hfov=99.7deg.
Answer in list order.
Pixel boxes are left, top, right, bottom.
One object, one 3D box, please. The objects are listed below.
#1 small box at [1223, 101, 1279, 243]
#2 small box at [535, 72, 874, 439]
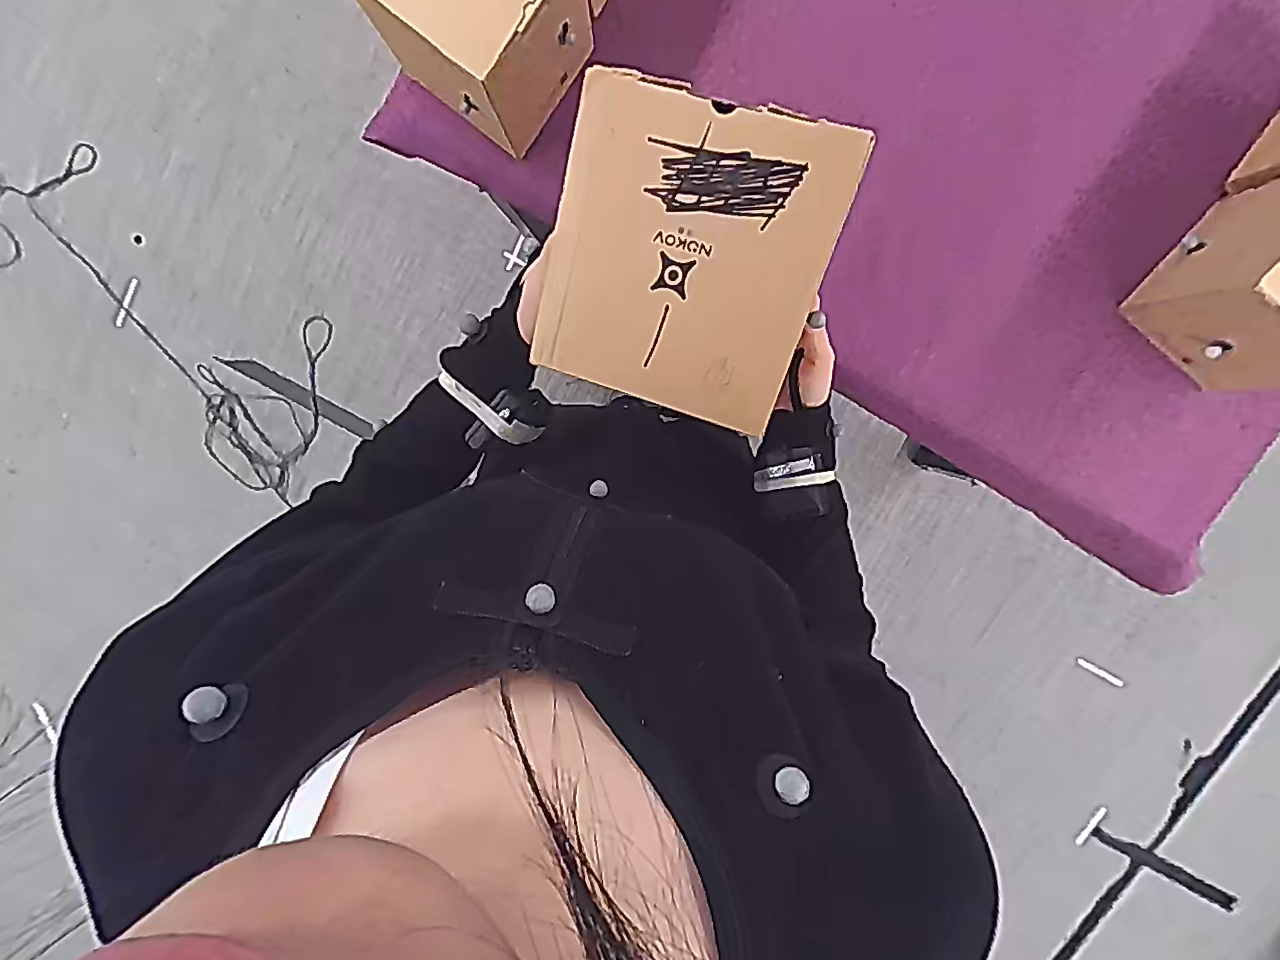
[{"bbox_3d":[0.828,-0.380,0.592,0.168,0.176,0.179,32,98,-5],"label":"small box"},{"bbox_3d":[0.046,-0.152,0.404,0.168,0.176,0.179,20,110,8],"label":"small box"}]
